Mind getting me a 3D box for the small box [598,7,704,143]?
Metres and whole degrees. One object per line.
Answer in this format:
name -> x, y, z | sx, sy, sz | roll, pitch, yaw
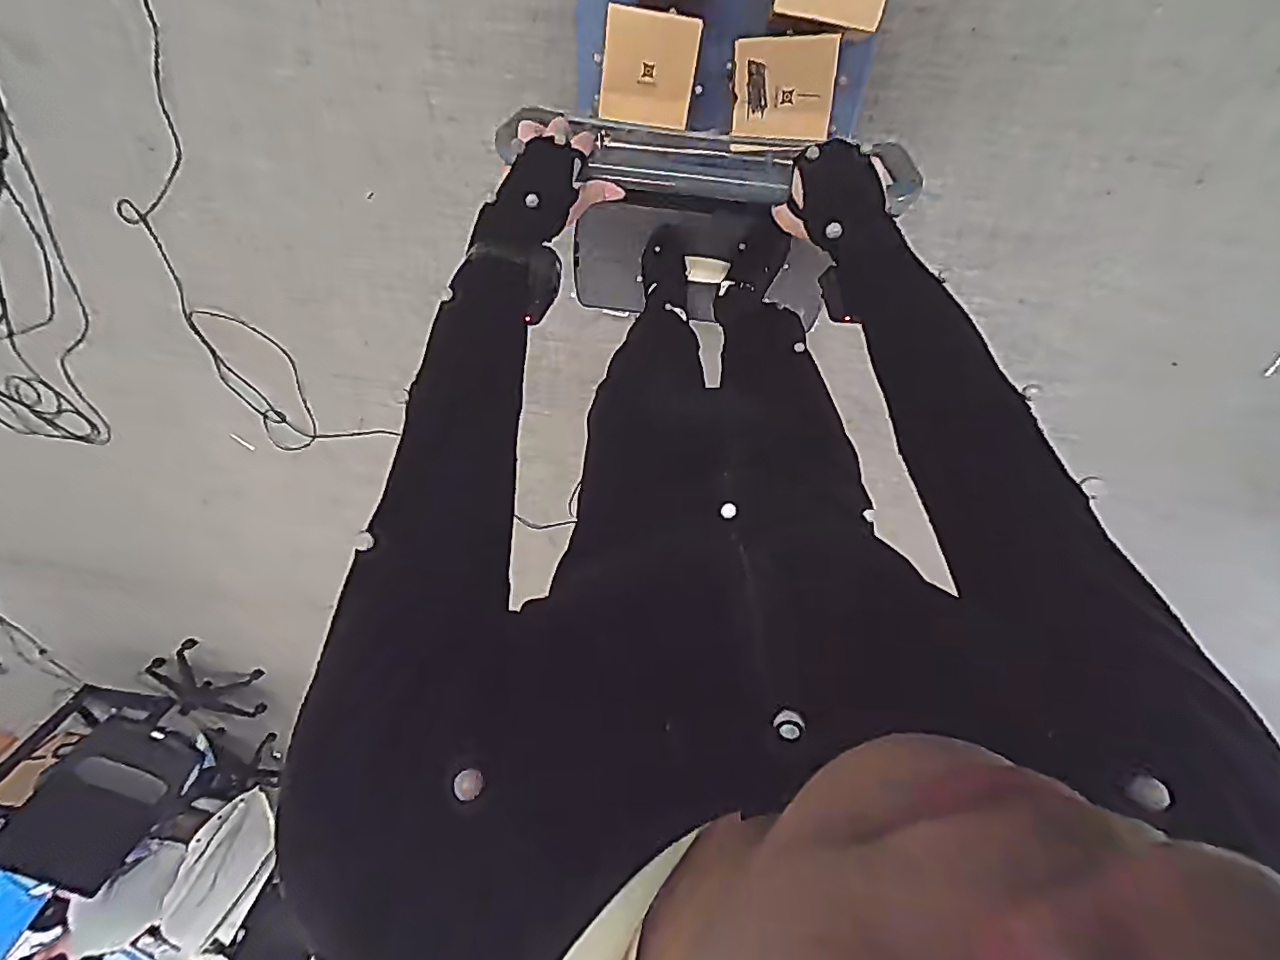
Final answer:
small box -> 0.022, -0.761, 1.027 | 0.168, 0.176, 0.179 | 11, 126, 0
